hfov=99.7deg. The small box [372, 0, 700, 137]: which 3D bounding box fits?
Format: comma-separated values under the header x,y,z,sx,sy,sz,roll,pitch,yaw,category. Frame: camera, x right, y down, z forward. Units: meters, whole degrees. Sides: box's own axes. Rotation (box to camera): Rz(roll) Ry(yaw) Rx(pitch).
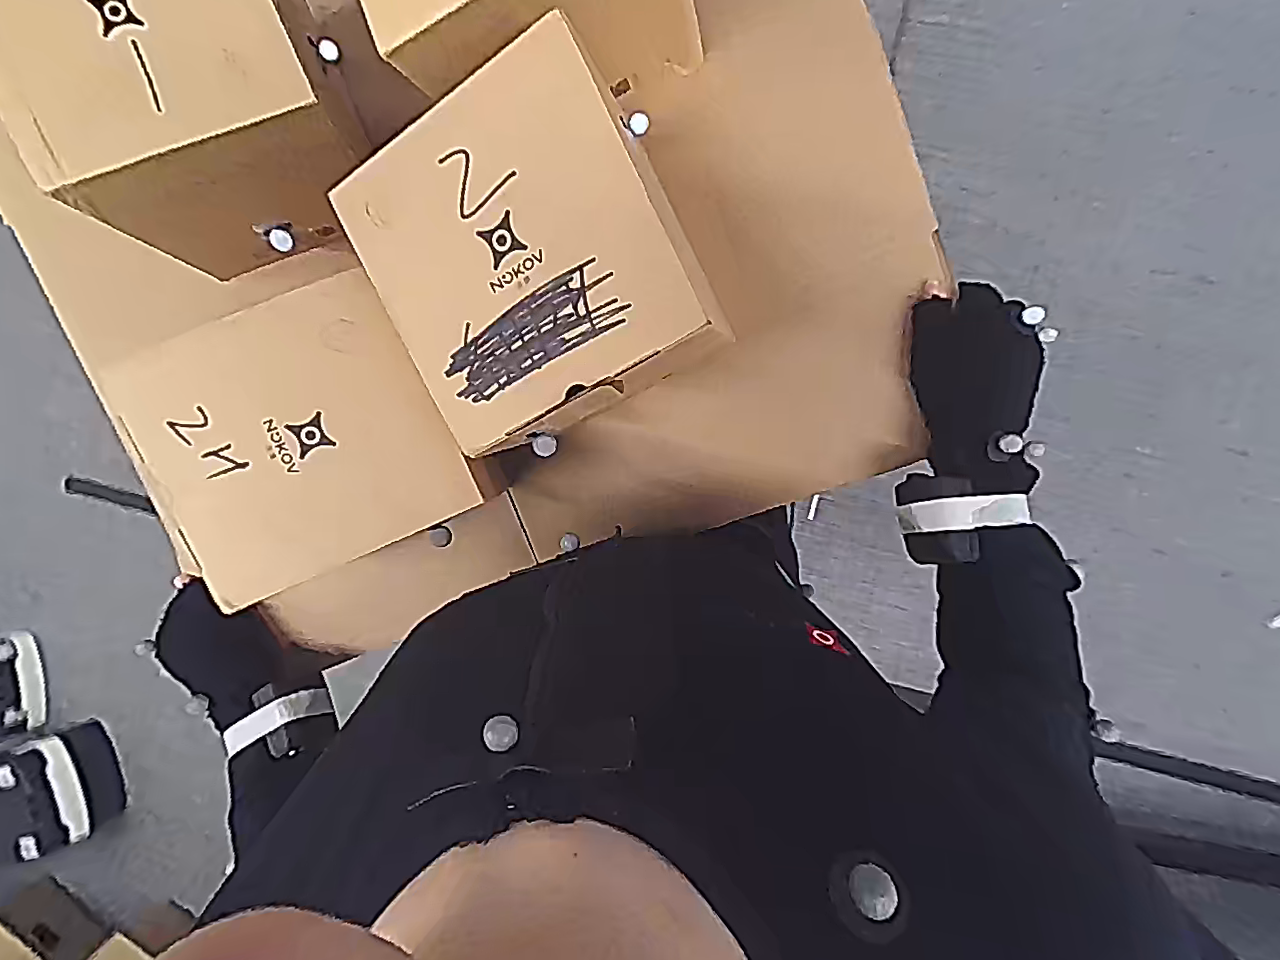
x,y,z,sx,sy,sz,roll,pitch,yaw,category
-0.070,-0.354,0.339,0.168,0.176,0.179,-17,95,16,small box
